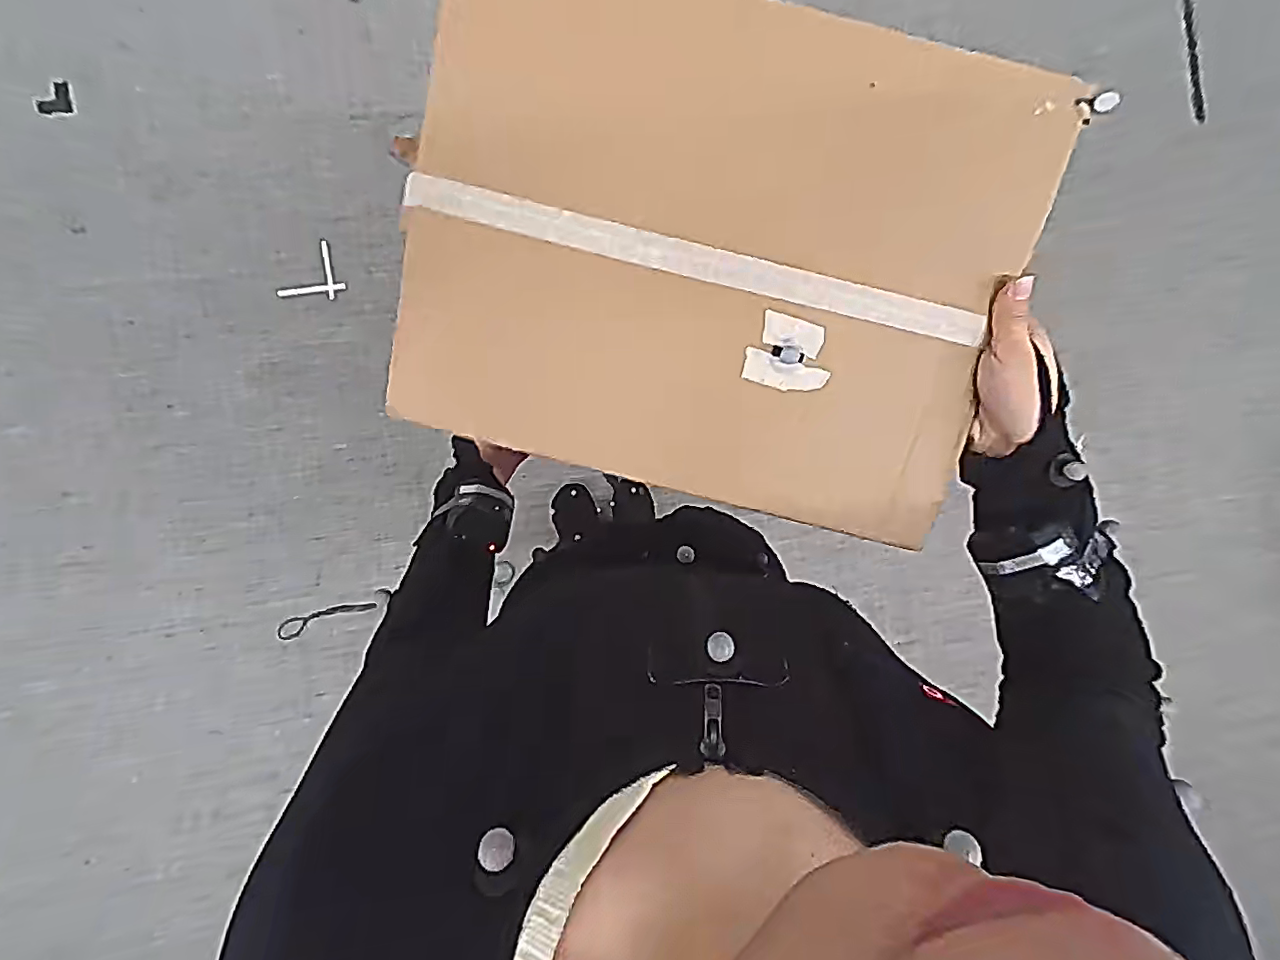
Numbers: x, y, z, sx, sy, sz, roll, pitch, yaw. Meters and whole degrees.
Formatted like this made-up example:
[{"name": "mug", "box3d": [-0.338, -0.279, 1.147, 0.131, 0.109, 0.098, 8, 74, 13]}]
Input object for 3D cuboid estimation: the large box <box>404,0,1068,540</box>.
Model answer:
[{"name": "large box", "box3d": [0.051, -0.170, 0.515, 0.408, 0.320, 0.320, 13, 103, -2]}]
